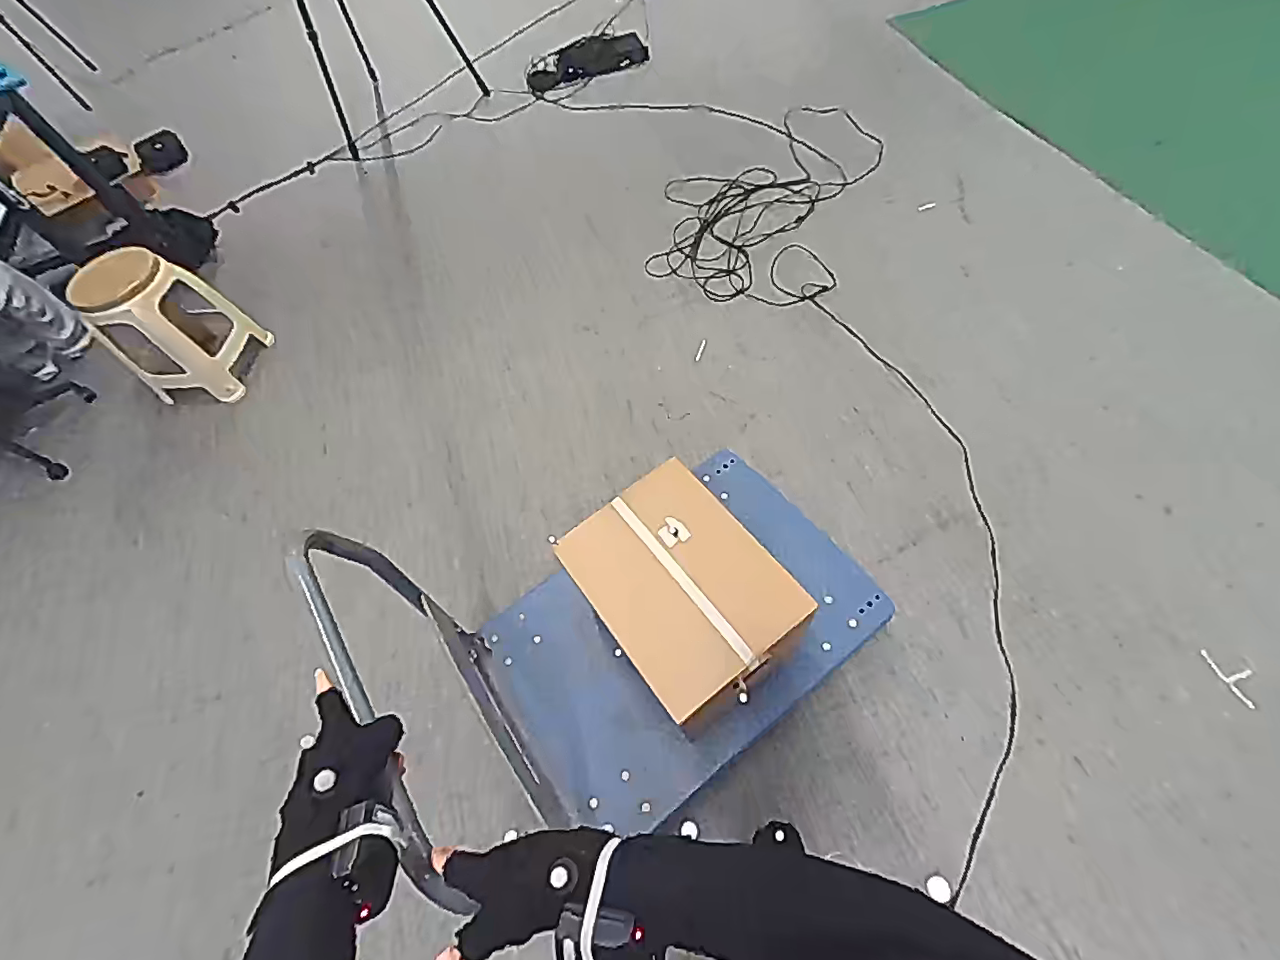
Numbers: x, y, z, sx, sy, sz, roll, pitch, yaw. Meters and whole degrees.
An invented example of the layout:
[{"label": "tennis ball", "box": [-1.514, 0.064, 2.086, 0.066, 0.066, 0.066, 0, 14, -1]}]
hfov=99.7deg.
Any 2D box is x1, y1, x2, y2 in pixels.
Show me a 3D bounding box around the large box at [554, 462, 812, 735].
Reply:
[{"label": "large box", "box": [0.090, 0.248, 1.123, 0.320, 0.320, 0.408, -35, 60, -12]}]
